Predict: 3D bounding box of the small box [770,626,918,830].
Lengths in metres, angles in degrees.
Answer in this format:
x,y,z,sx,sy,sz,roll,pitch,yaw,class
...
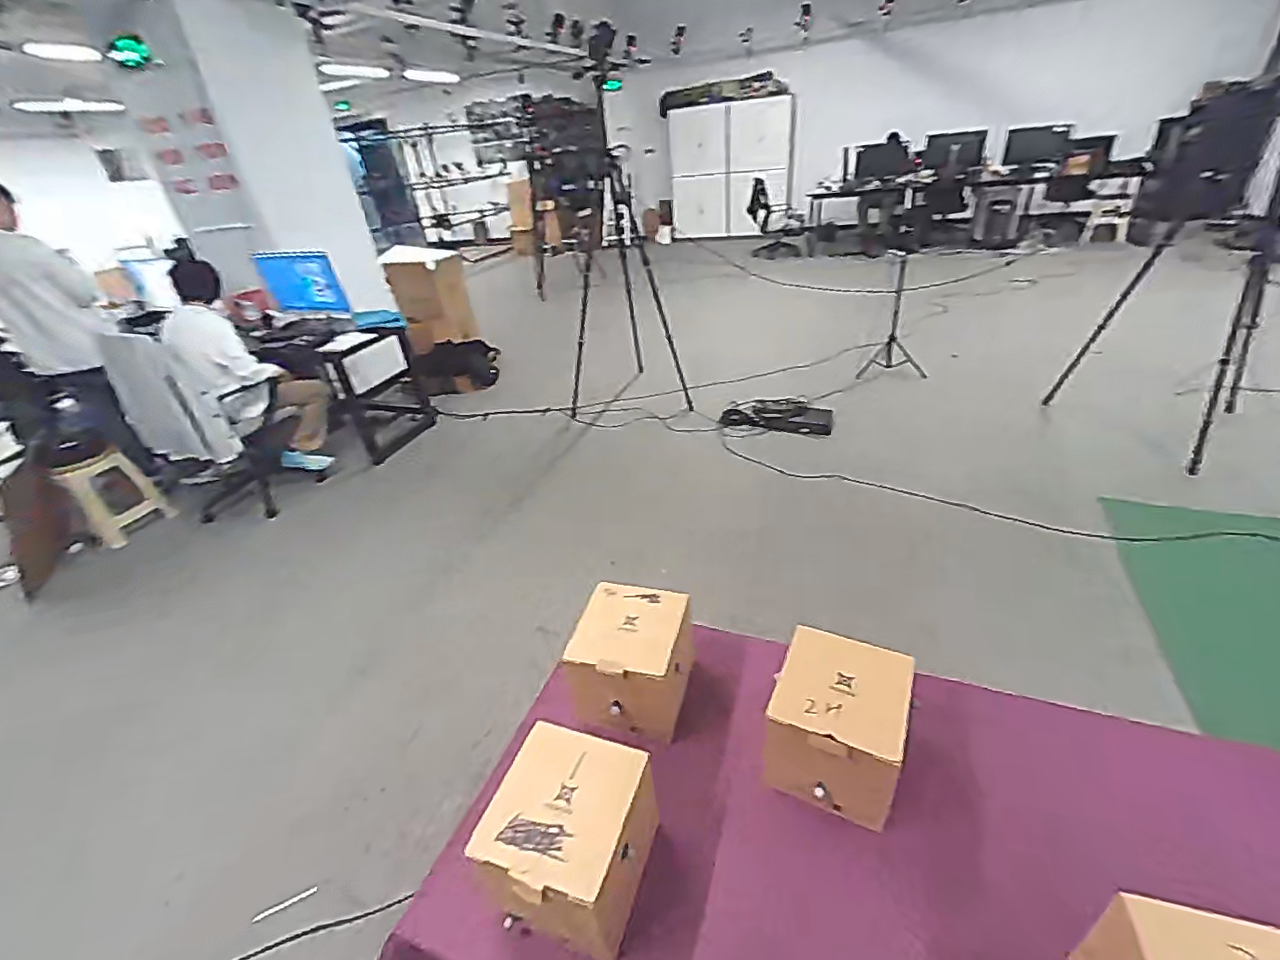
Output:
x,y,z,sx,sy,sz,roll,pitch,yaw,class
0.289,0.351,0.780,0.168,0.176,0.179,11,37,27,small box

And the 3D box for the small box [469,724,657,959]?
x,y,z,sx,sy,sz,roll,pitch,yaw,class
-0.082,0.456,0.690,0.168,0.176,0.179,6,33,20,small box

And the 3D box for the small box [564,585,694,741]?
x,y,z,sx,sy,sz,roll,pitch,yaw,class
-0.006,0.306,0.913,0.168,0.176,0.179,5,35,18,small box
